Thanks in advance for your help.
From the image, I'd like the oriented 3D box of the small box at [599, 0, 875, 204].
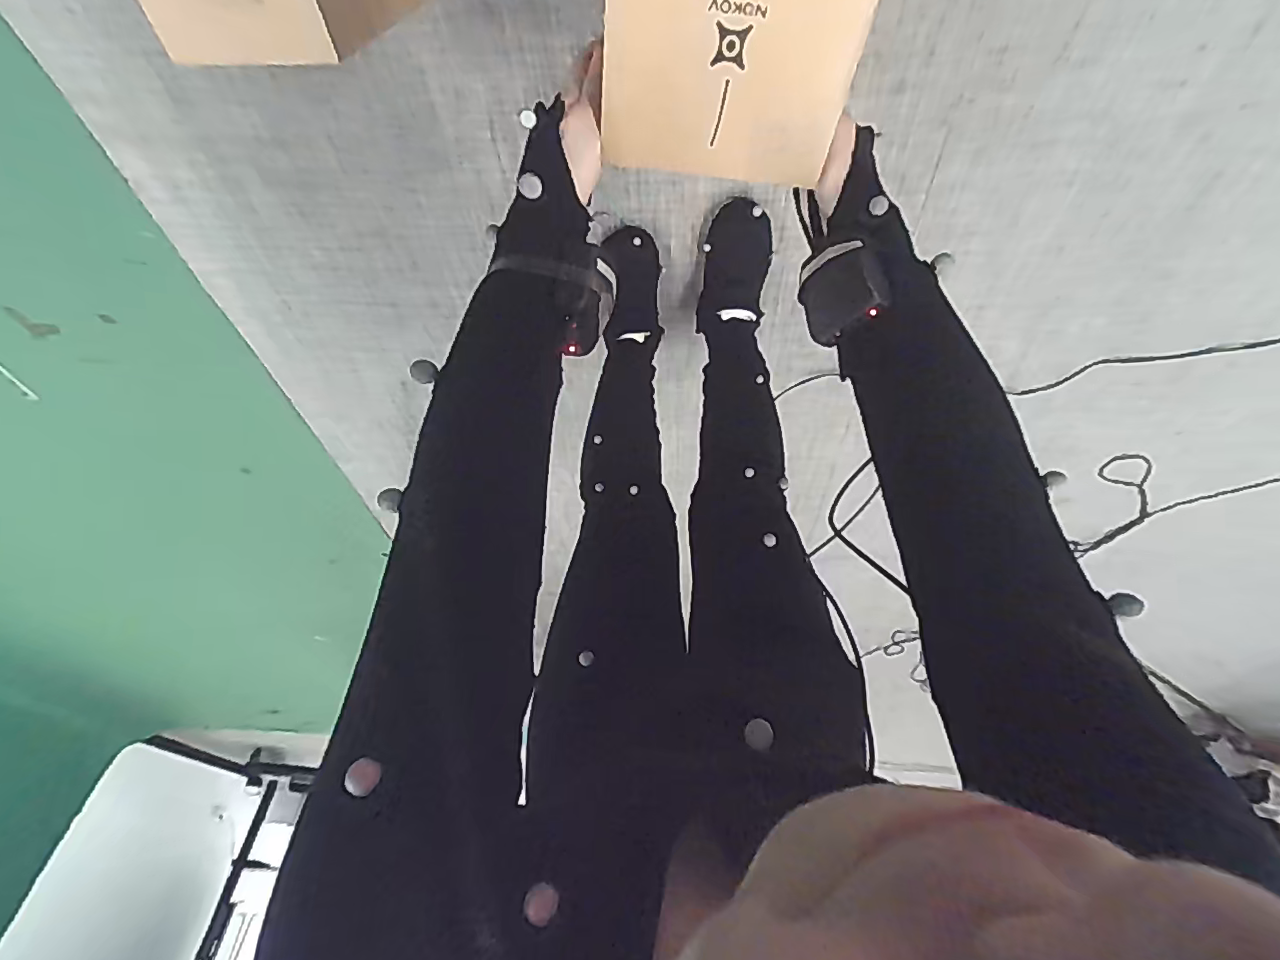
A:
[{"bbox_3d":[0.059,-0.338,0.400,0.168,0.176,0.179,5,141,-4],"label":"small box"}]
